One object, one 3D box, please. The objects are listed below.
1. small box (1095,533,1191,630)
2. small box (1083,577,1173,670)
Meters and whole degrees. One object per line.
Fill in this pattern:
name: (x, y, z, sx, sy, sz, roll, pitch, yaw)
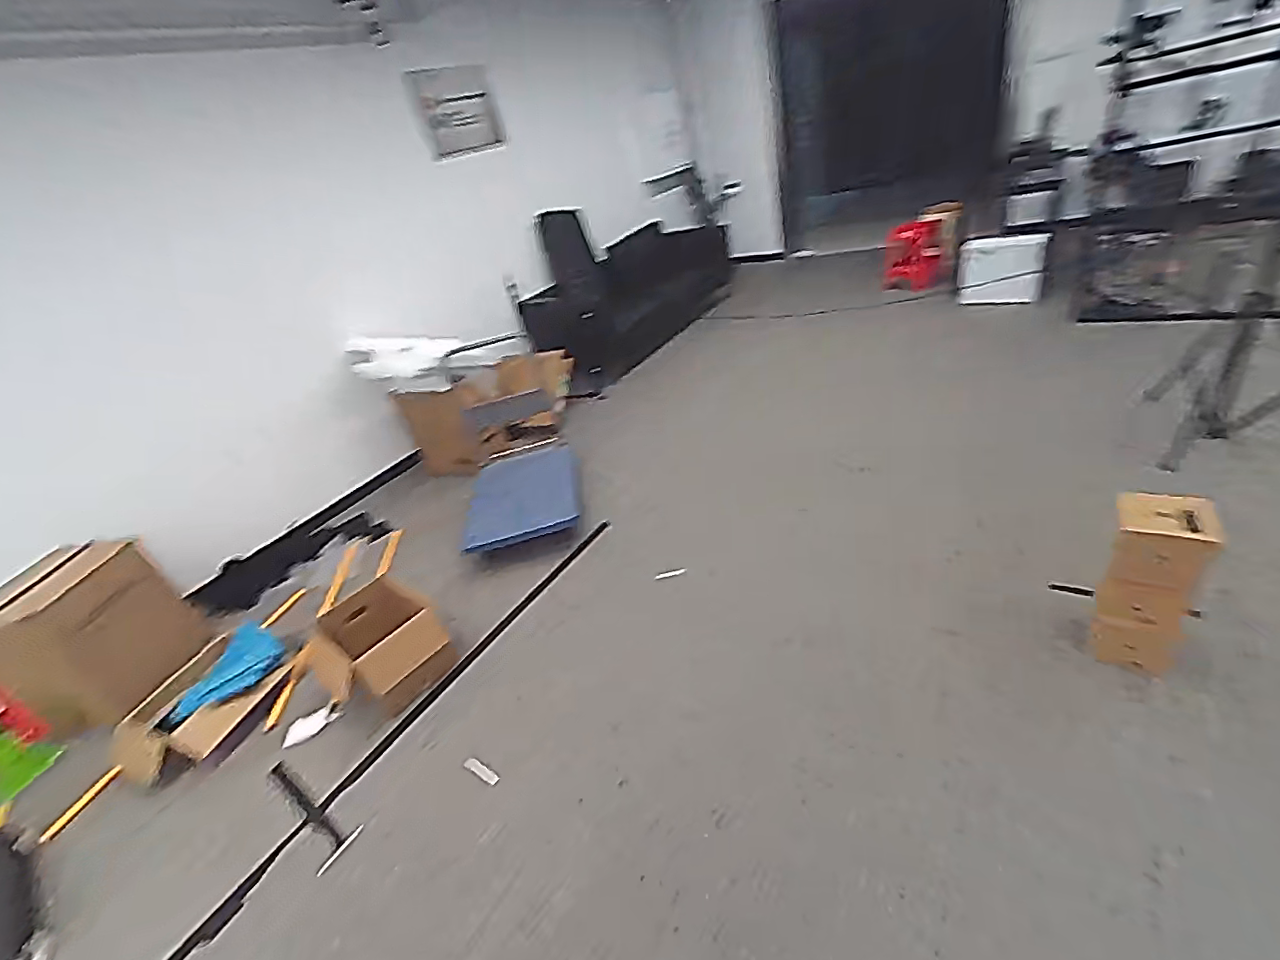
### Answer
small box: (1.370, 0.275, 1.482, 0.168, 0.176, 0.179, 9, 40, 36)
small box: (1.401, 0.414, 1.562, 0.168, 0.176, 0.179, 8, 38, 34)
